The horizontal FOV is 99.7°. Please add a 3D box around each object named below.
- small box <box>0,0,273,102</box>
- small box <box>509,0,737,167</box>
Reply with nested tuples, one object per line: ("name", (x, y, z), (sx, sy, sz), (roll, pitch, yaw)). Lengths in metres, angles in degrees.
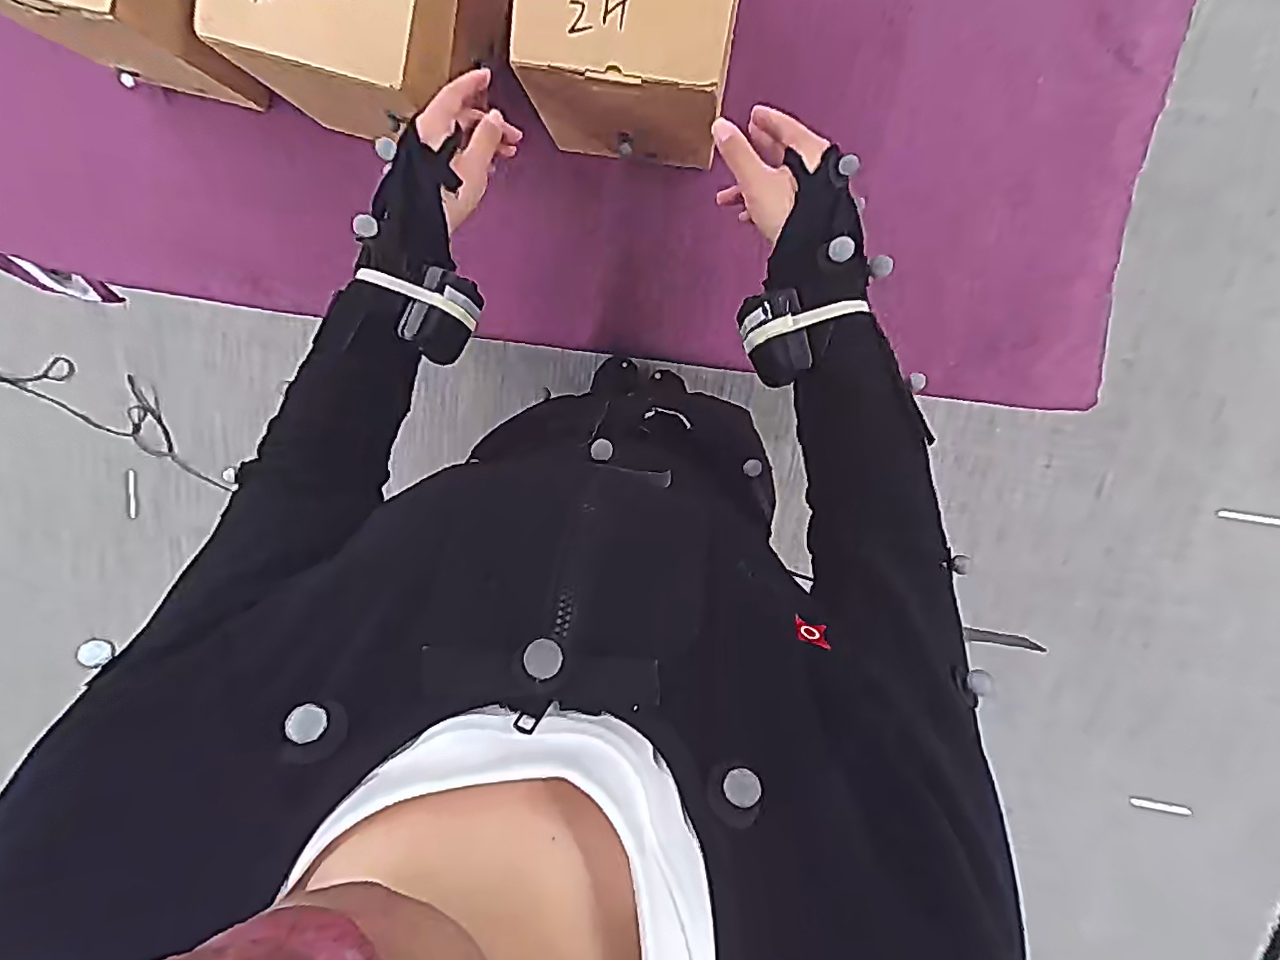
("small box", (-0.473, -0.490, 0.496), (0.168, 0.176, 0.179), (14, 102, 1))
("small box", (-0.002, -0.410, 0.475), (0.168, 0.176, 0.179), (10, 101, 3))
